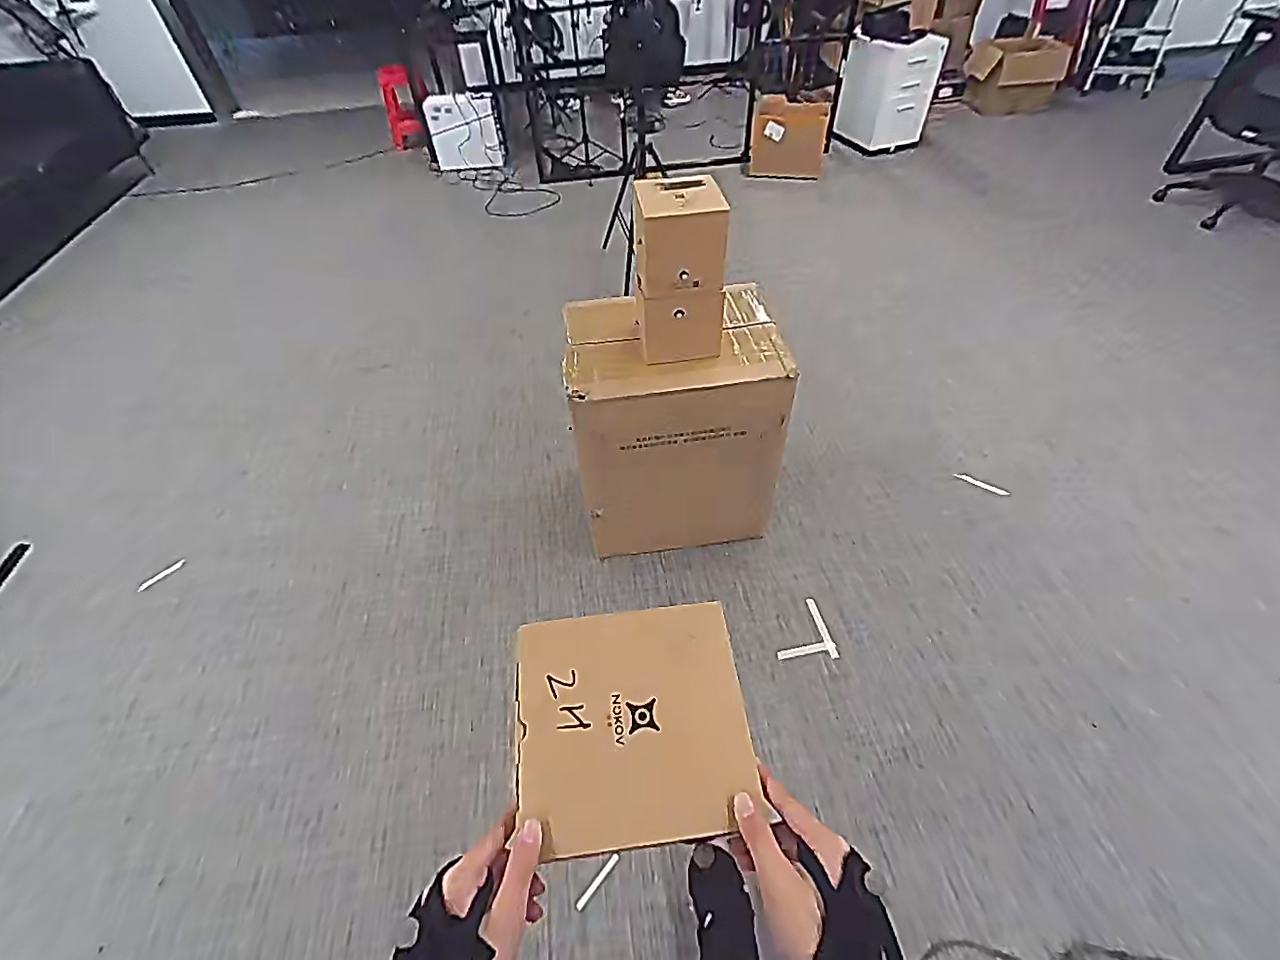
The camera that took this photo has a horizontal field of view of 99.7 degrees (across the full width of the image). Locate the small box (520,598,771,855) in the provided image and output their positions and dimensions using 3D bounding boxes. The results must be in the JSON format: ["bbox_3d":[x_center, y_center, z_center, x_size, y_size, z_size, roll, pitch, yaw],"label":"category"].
[{"bbox_3d":[-0.004,0.220,0.477,0.179,0.176,0.168,-6,55,-3],"label":"small box"}]

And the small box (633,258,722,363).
[{"bbox_3d":[0.083,-0.384,1.240,0.179,0.176,0.168,-7,49,-3],"label":"small box"}]
